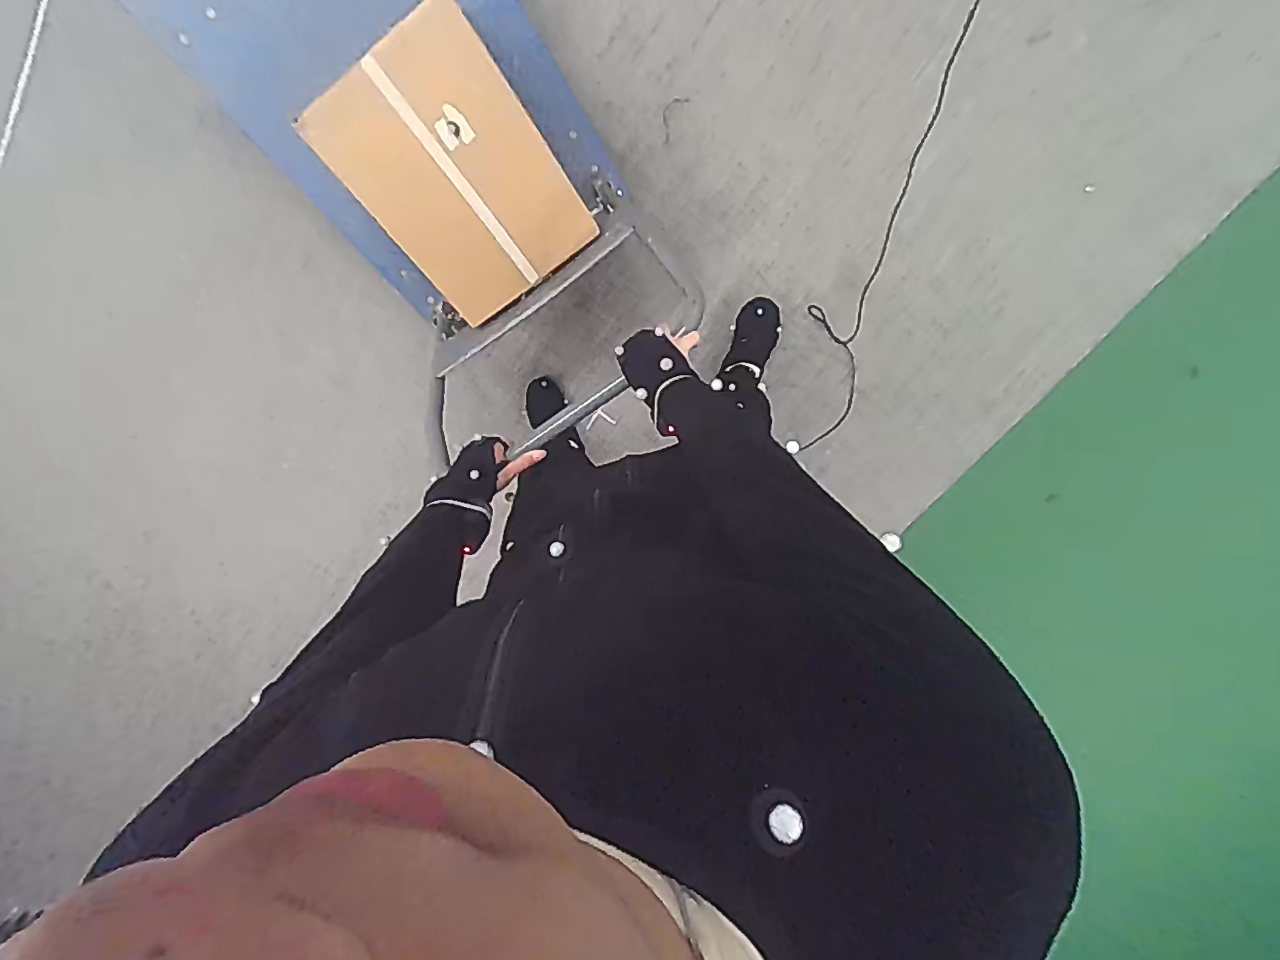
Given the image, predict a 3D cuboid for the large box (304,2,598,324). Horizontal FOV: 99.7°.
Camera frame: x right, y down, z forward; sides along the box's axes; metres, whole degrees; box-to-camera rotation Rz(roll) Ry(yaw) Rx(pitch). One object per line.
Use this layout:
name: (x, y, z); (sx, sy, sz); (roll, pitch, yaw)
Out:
large box: (-0.333, -0.596, 1.062); (0.320, 0.320, 0.408); (-33, 125, 10)
